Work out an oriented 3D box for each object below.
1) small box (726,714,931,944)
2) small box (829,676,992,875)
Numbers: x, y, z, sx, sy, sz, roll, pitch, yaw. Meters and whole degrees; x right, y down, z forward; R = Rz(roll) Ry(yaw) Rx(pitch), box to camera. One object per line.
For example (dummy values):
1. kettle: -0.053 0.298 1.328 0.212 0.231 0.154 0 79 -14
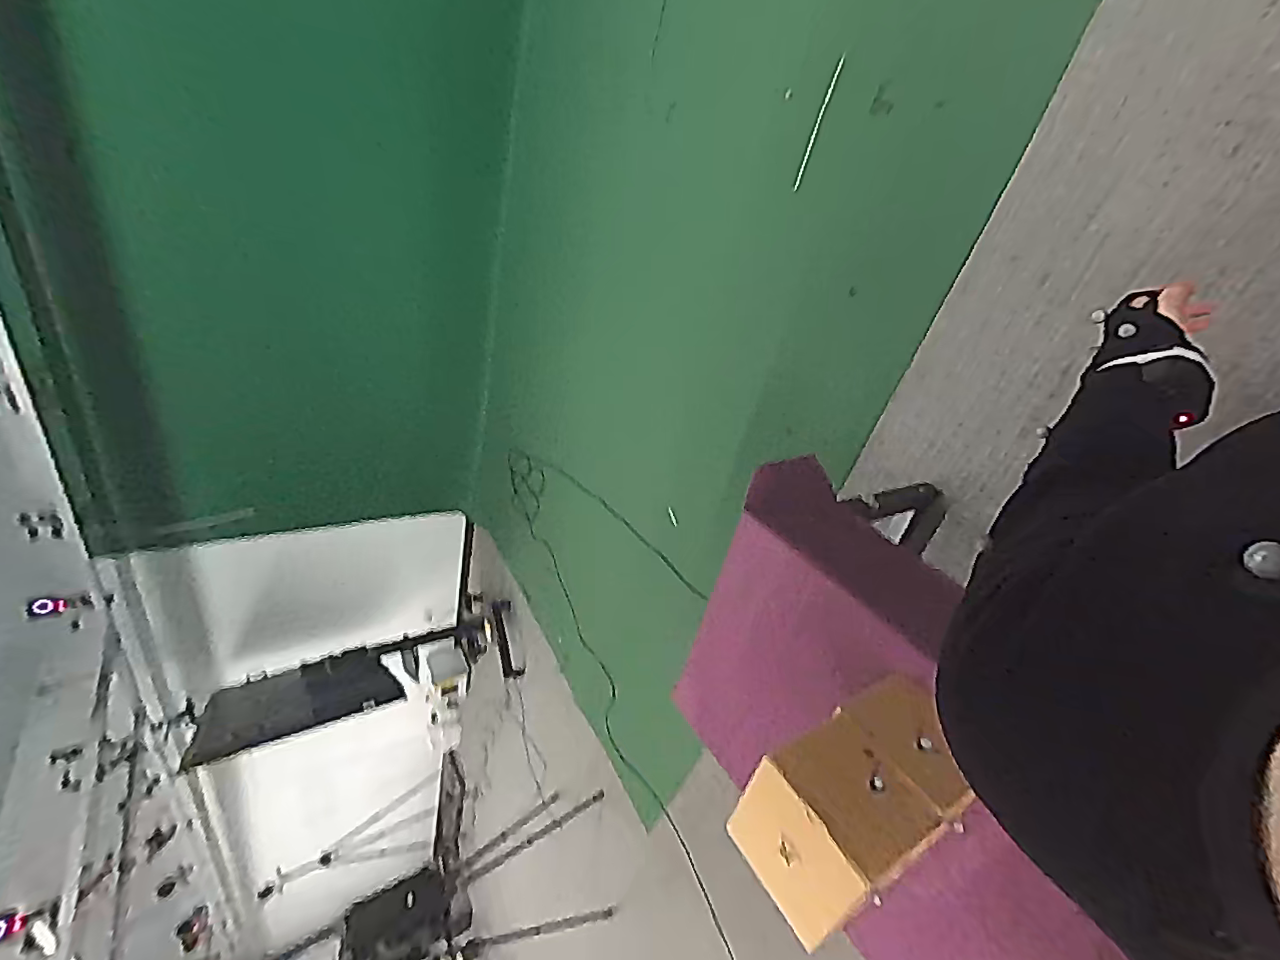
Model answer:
1. small box: 0.250 0.456 0.728 0.168 0.176 0.179 44 130 43
2. small box: 0.384 0.432 0.818 0.179 0.176 0.168 42 128 43
